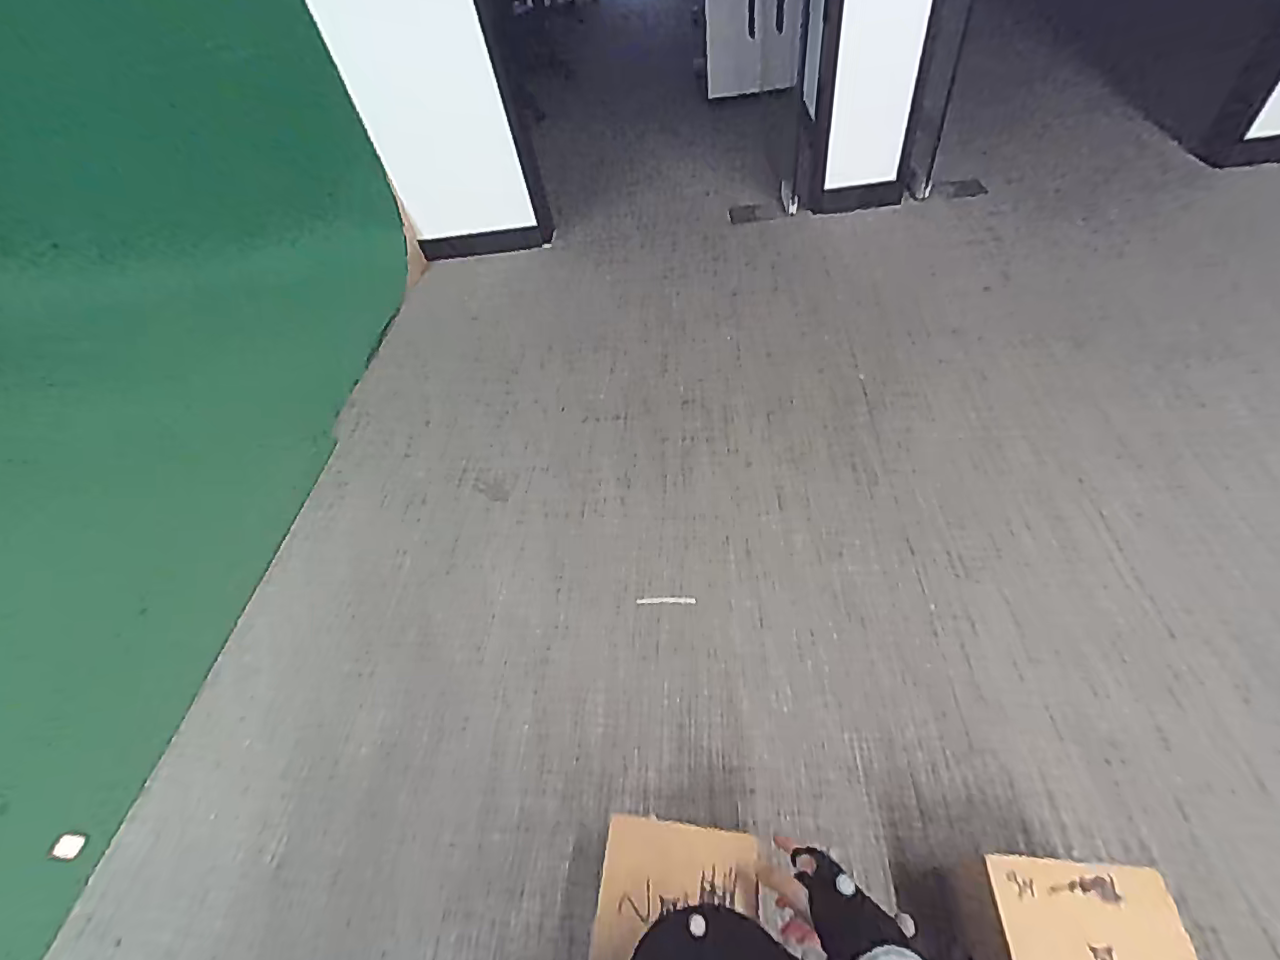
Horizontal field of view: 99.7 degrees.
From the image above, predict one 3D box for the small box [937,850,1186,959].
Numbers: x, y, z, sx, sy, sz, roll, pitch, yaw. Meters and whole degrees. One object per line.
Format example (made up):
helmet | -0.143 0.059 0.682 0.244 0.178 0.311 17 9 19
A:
small box | 0.441 0.513 0.573 0.168 0.176 0.179 0 51 10
